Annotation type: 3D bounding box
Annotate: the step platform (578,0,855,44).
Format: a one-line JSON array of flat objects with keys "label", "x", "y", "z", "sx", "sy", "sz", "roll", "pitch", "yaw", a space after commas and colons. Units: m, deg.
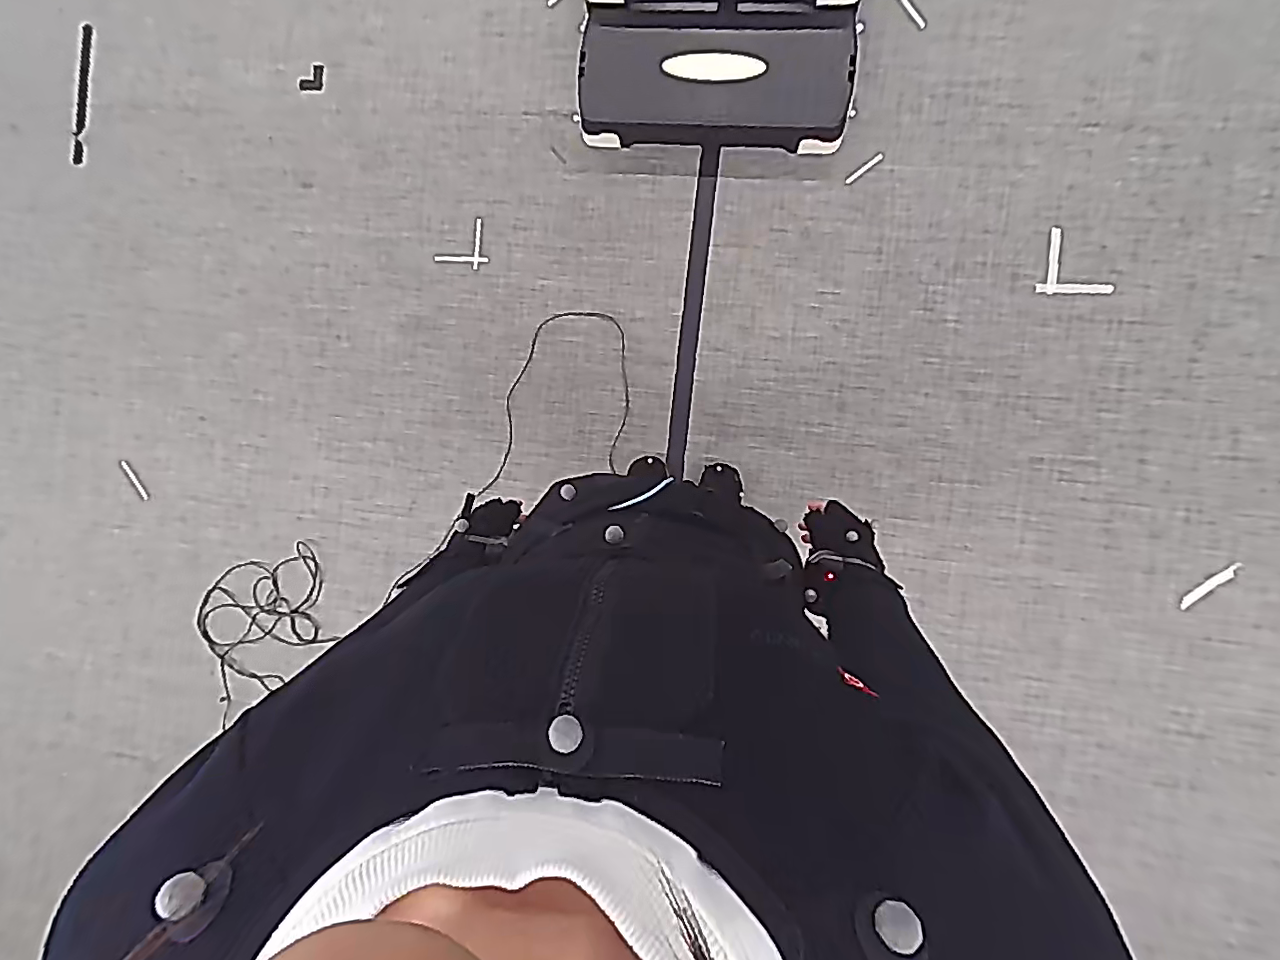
[{"label": "step platform", "x": 0.183, "y": -1.250, "z": 1.279, "sx": 0.684, "sy": 0.204, "sz": 0.286, "roll": 5, "pitch": 94, "yaw": 5}]
